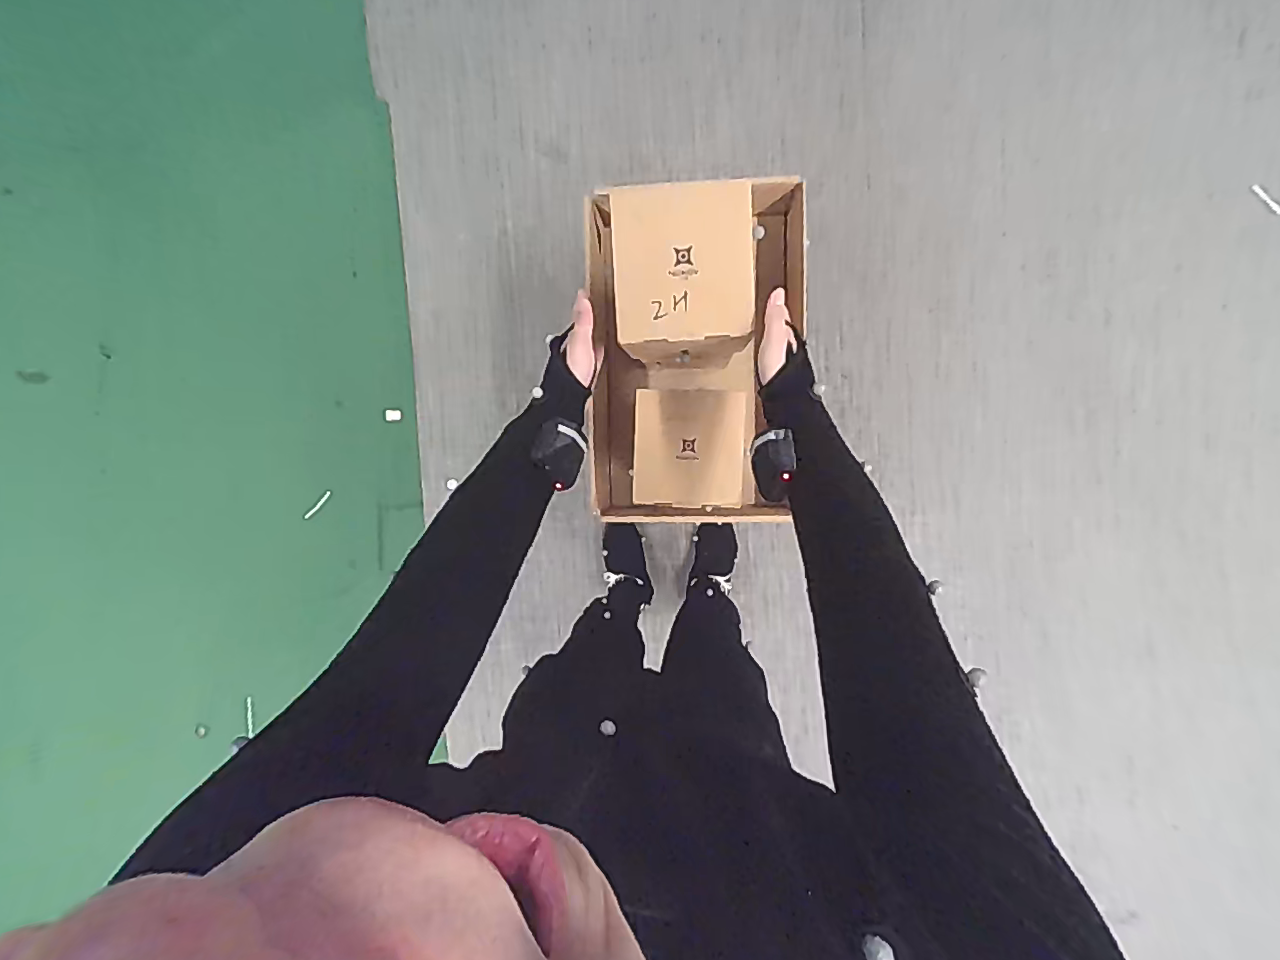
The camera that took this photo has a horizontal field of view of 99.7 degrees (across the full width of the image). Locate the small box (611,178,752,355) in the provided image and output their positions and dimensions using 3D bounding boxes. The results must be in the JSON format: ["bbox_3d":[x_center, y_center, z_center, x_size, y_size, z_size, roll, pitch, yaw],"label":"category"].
[{"bbox_3d":[0.055,-0.266,0.711,0.168,0.176,0.179,-2,97,6],"label":"small box"}]

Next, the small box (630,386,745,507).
[{"bbox_3d":[0.077,-0.056,0.886,0.168,0.176,0.179,3,94,5],"label":"small box"}]
